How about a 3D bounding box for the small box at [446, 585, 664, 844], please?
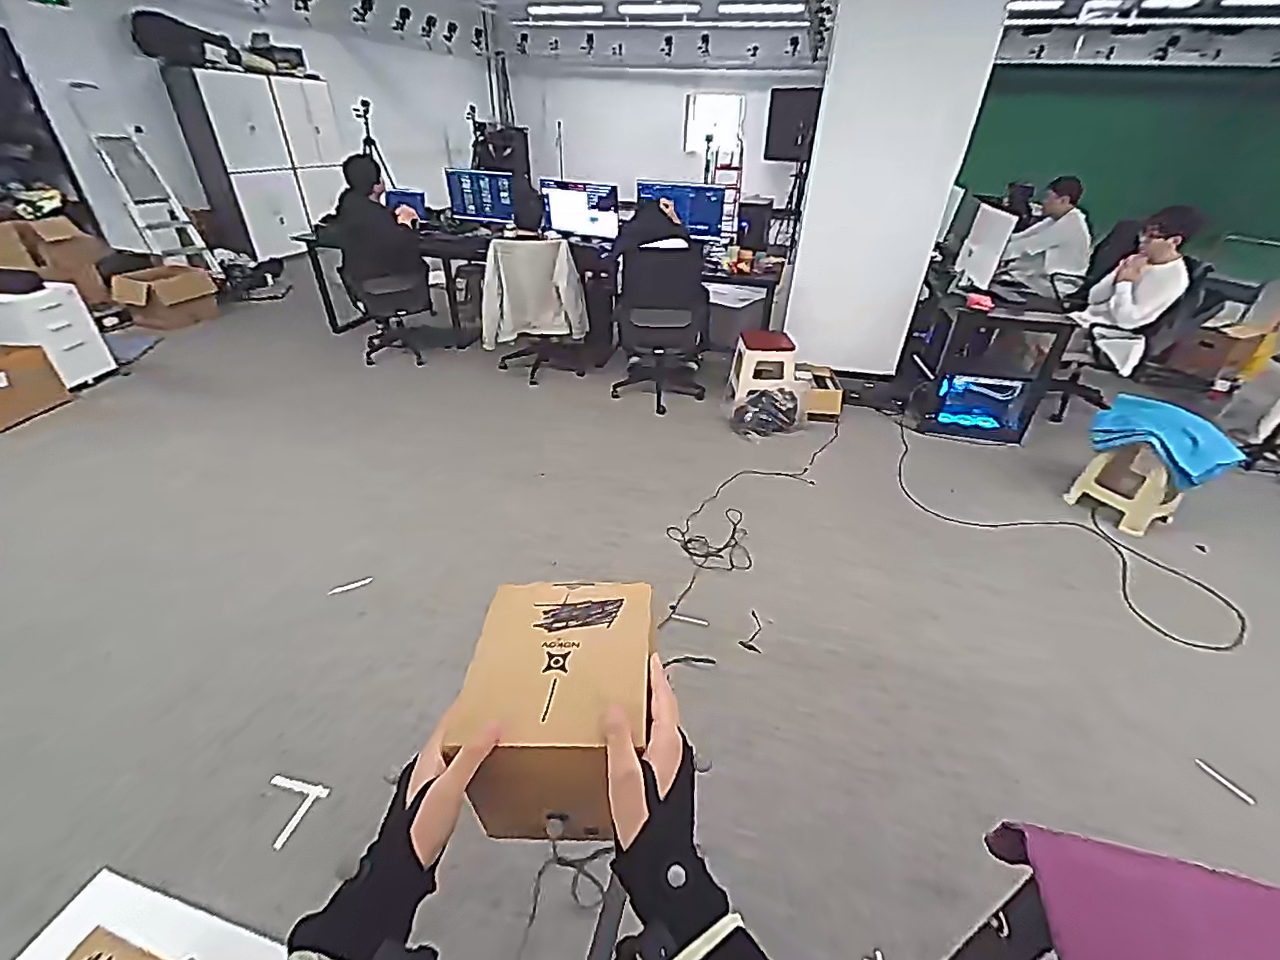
[{"bbox_3d":[-0.064,0.224,0.535,0.168,0.176,0.179,-2,35,5],"label":"small box"}]
